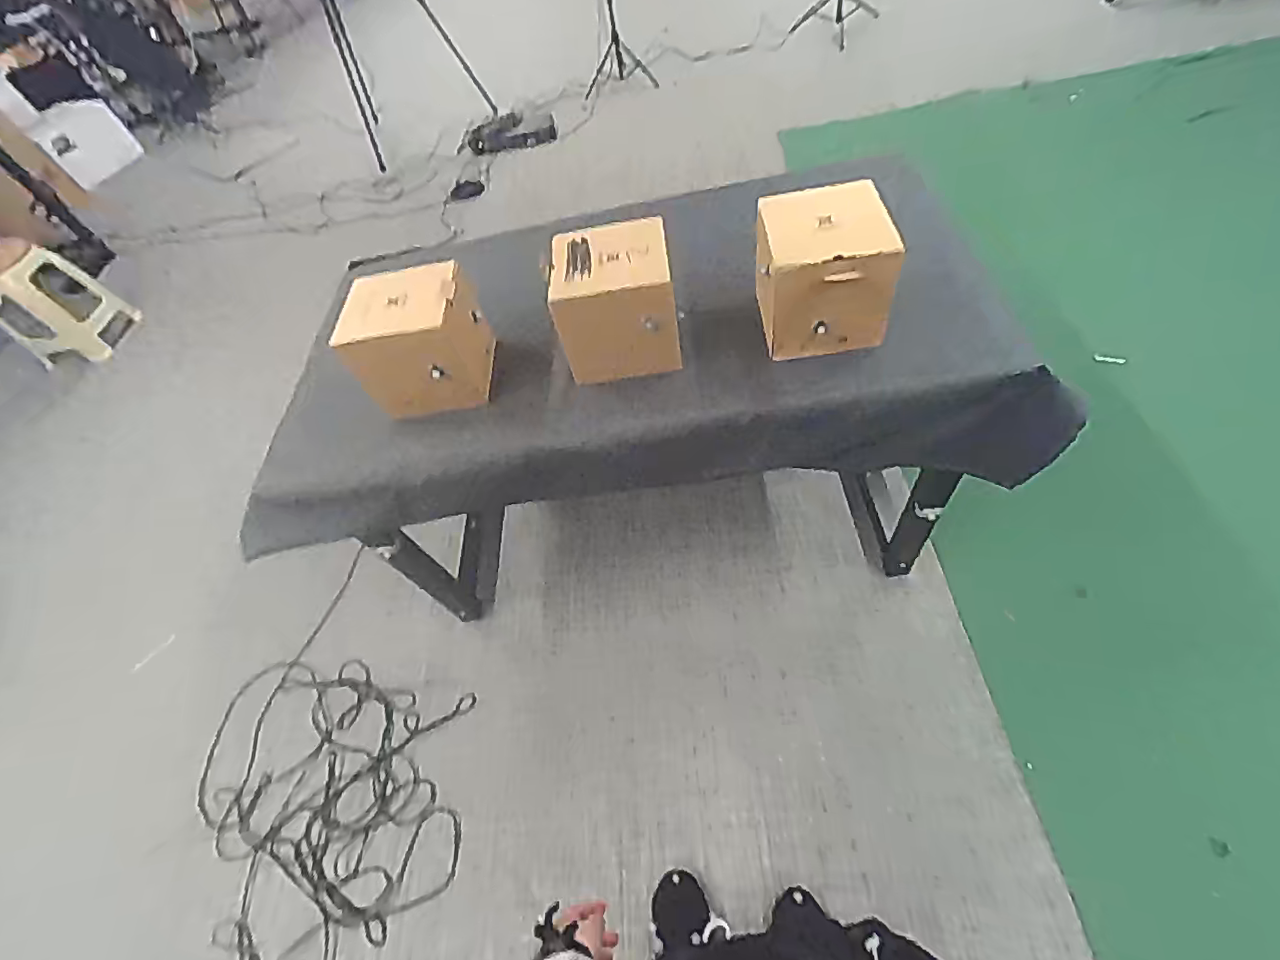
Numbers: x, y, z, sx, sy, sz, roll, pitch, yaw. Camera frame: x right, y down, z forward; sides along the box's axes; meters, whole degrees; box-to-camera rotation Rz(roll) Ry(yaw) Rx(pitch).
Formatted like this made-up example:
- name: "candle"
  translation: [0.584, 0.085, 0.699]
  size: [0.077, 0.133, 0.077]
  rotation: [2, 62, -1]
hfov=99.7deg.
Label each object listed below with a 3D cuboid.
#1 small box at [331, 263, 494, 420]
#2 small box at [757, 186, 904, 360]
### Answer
- name: "small box"
  translation: [-0.353, -0.219, 0.880]
  size: [0.179, 0.176, 0.168]
  rotation: [-9, 53, 6]
- name: "small box"
  translation: [0.272, -0.308, 0.819]
  size: [0.168, 0.176, 0.179]
  rotation: [-6, 55, 7]
